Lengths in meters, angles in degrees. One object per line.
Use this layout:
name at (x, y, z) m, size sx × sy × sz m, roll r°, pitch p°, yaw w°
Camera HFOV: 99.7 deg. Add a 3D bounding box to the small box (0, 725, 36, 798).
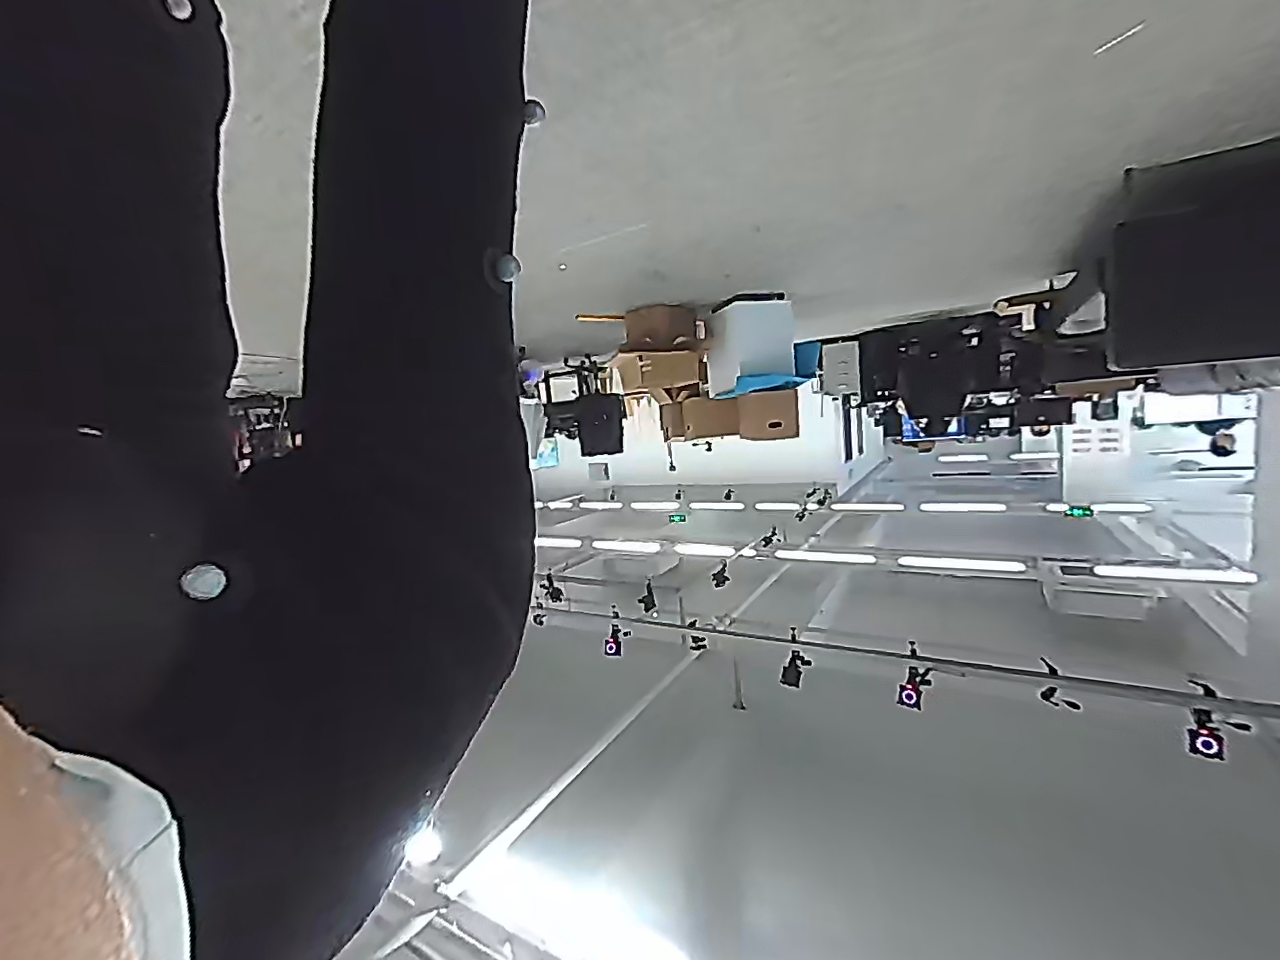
small box at (-1.875, 0.811, 1.525) m, size 0.168 × 0.176 × 0.179 m, roll -1°, pitch -174°, yaw 27°
